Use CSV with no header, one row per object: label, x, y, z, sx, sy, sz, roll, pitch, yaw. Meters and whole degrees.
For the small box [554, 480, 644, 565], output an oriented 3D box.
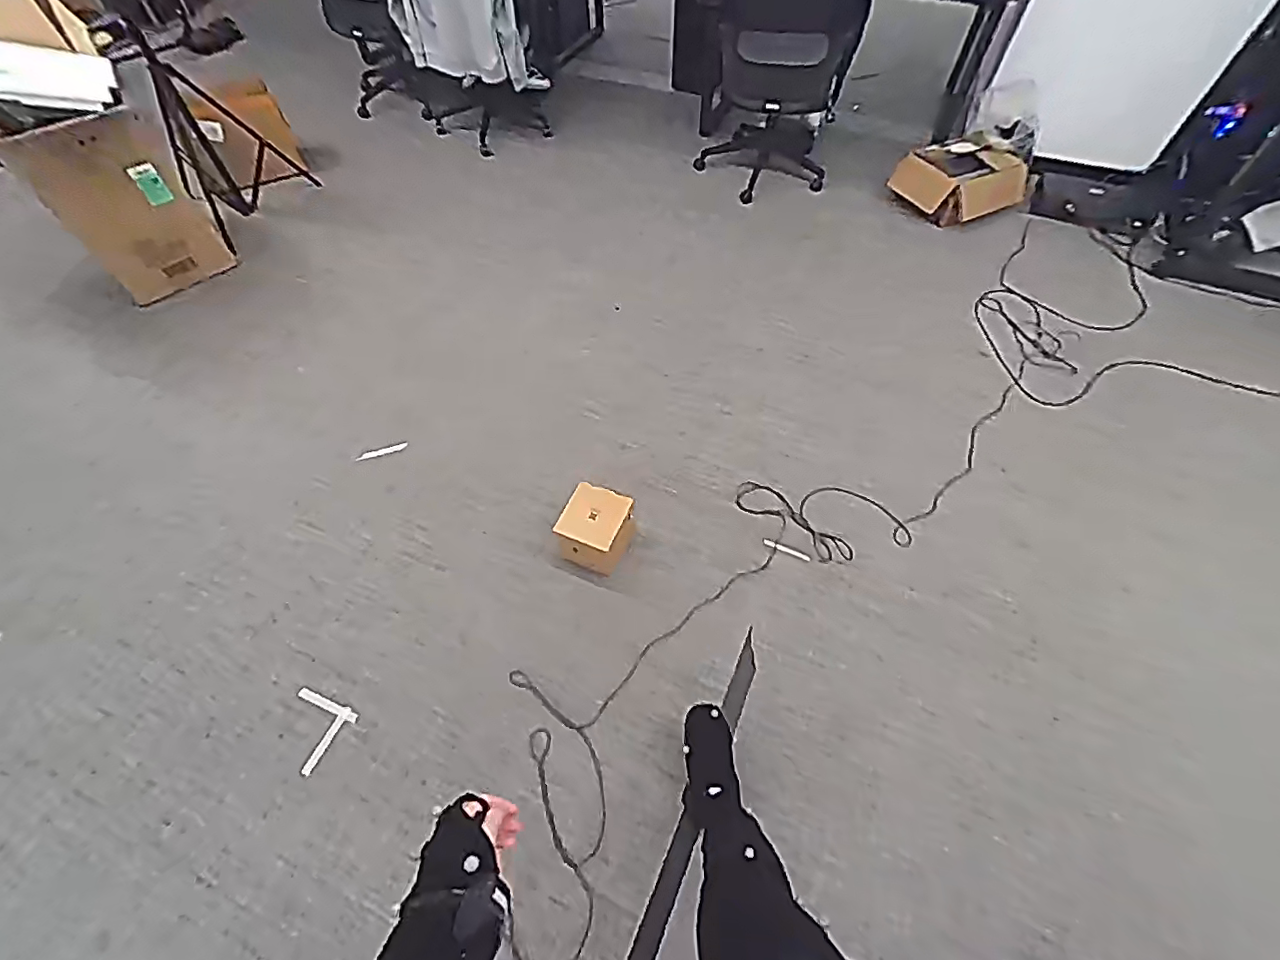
small box,-0.111,0.113,1.499,0.179,0.176,0.168,3,35,25
